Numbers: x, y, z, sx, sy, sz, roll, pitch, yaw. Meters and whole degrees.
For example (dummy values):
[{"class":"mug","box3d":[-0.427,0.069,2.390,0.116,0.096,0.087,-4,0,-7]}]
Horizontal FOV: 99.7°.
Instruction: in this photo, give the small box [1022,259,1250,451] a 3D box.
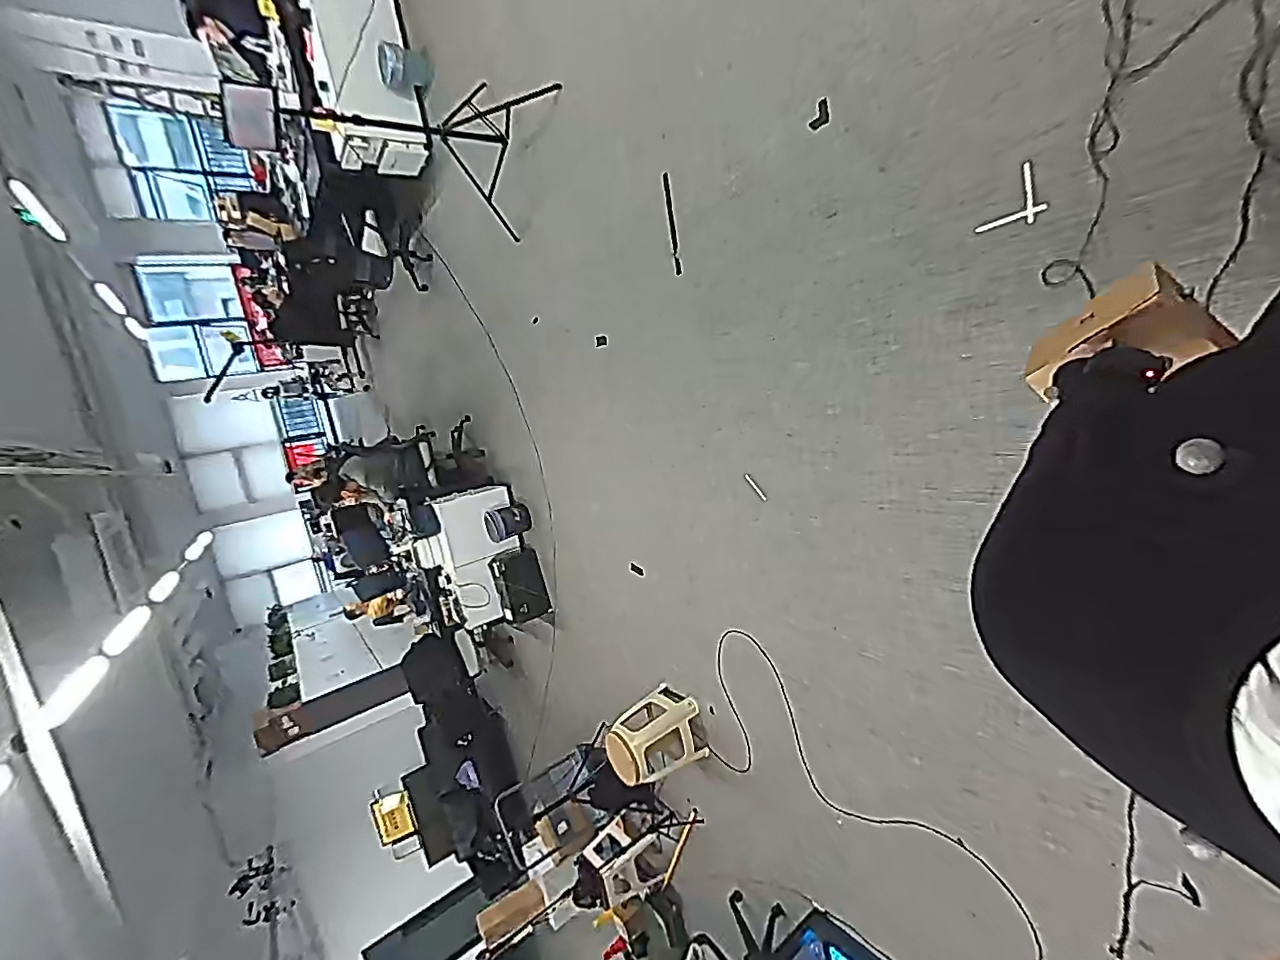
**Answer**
[{"class":"small box","box3d":[0.675,-0.164,0.746,0.176,0.179,0.168,46,141,2]}]
